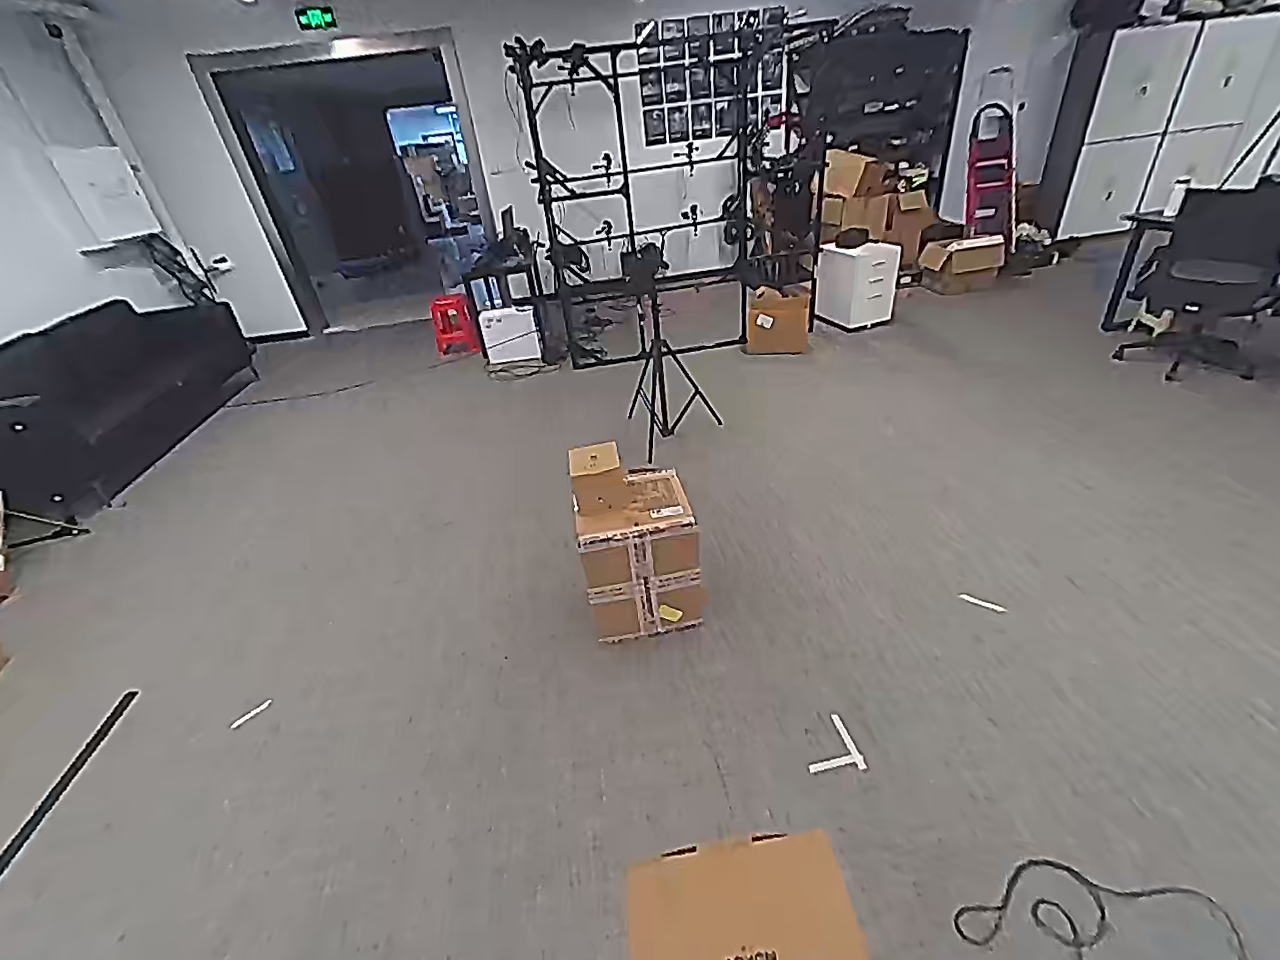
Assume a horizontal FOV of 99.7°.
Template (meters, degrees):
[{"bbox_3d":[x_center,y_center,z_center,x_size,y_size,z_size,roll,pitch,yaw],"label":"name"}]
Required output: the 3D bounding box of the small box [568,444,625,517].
[{"bbox_3d":[-0.150,0.002,1.854,0.168,0.176,0.179,-11,35,-2],"label":"small box"}]
